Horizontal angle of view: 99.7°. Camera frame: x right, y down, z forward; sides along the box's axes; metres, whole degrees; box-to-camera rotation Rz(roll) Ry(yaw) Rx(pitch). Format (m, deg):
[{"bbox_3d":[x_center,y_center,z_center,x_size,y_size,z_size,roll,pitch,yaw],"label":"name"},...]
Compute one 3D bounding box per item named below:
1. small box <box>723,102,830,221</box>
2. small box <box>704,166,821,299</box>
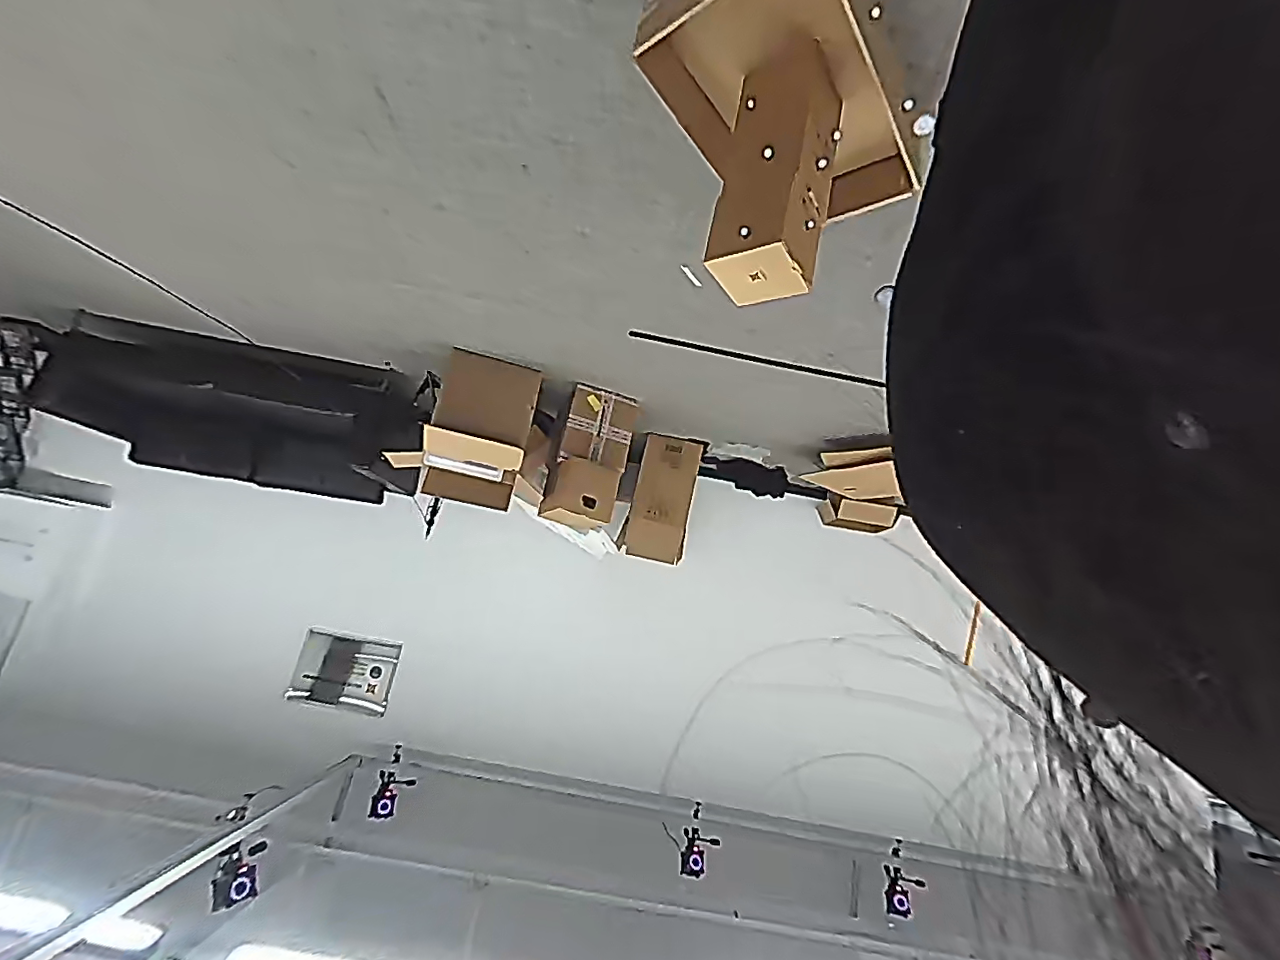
[{"bbox_3d":[0.302,-0.664,1.168,0.179,0.176,0.168,1,162,37],"label":"small box"},{"bbox_3d":[0.260,-0.510,1.131,0.179,0.176,0.168,1,163,38],"label":"small box"}]
